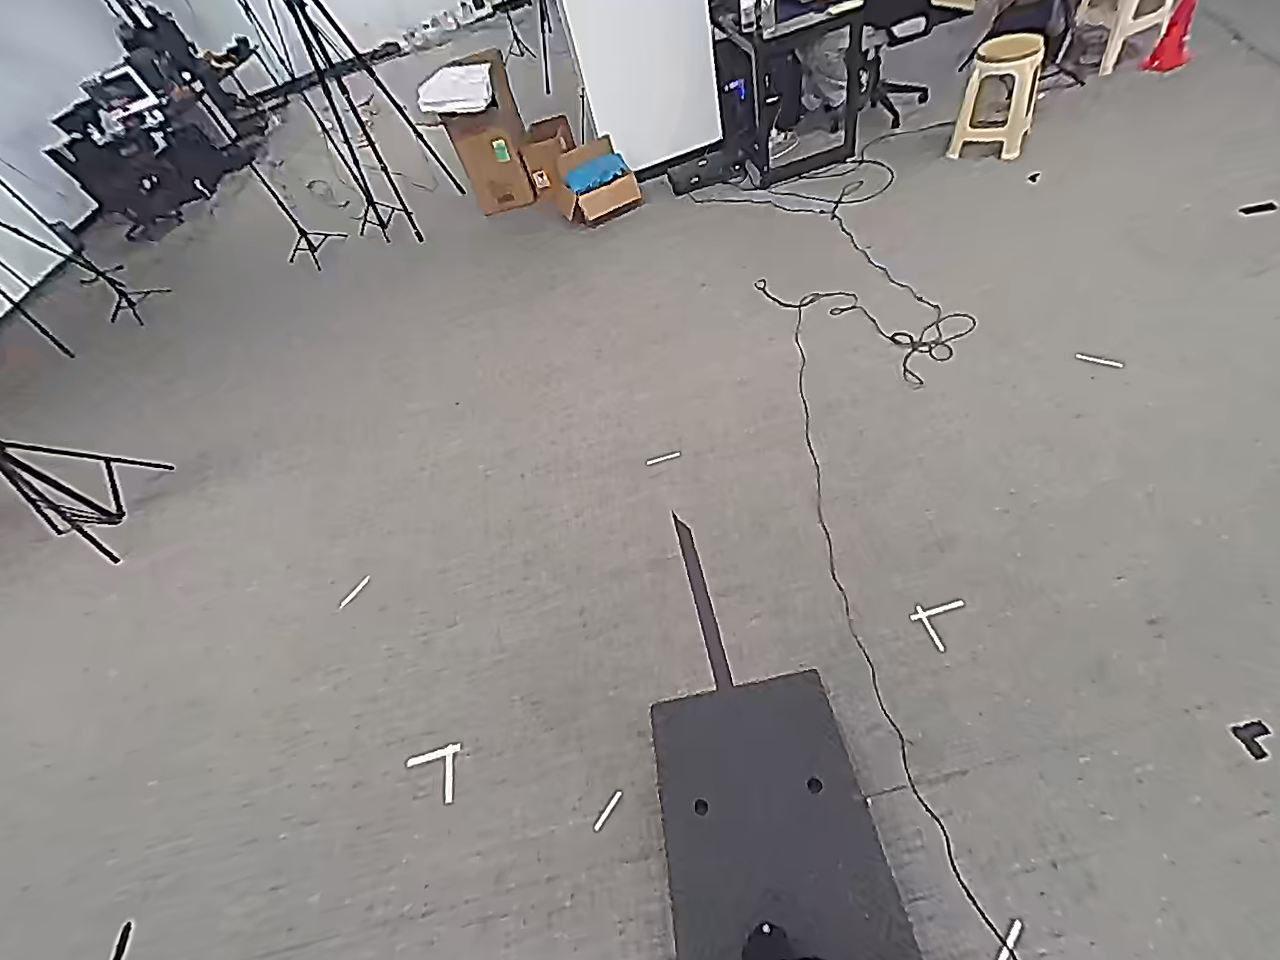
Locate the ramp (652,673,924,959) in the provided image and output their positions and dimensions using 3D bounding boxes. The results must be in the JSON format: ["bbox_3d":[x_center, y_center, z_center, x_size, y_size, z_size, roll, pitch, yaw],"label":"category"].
[{"bbox_3d":[0.308,0.921,1.170,0.509,0.206,0.991,-17,49,5],"label":"ramp"}]
